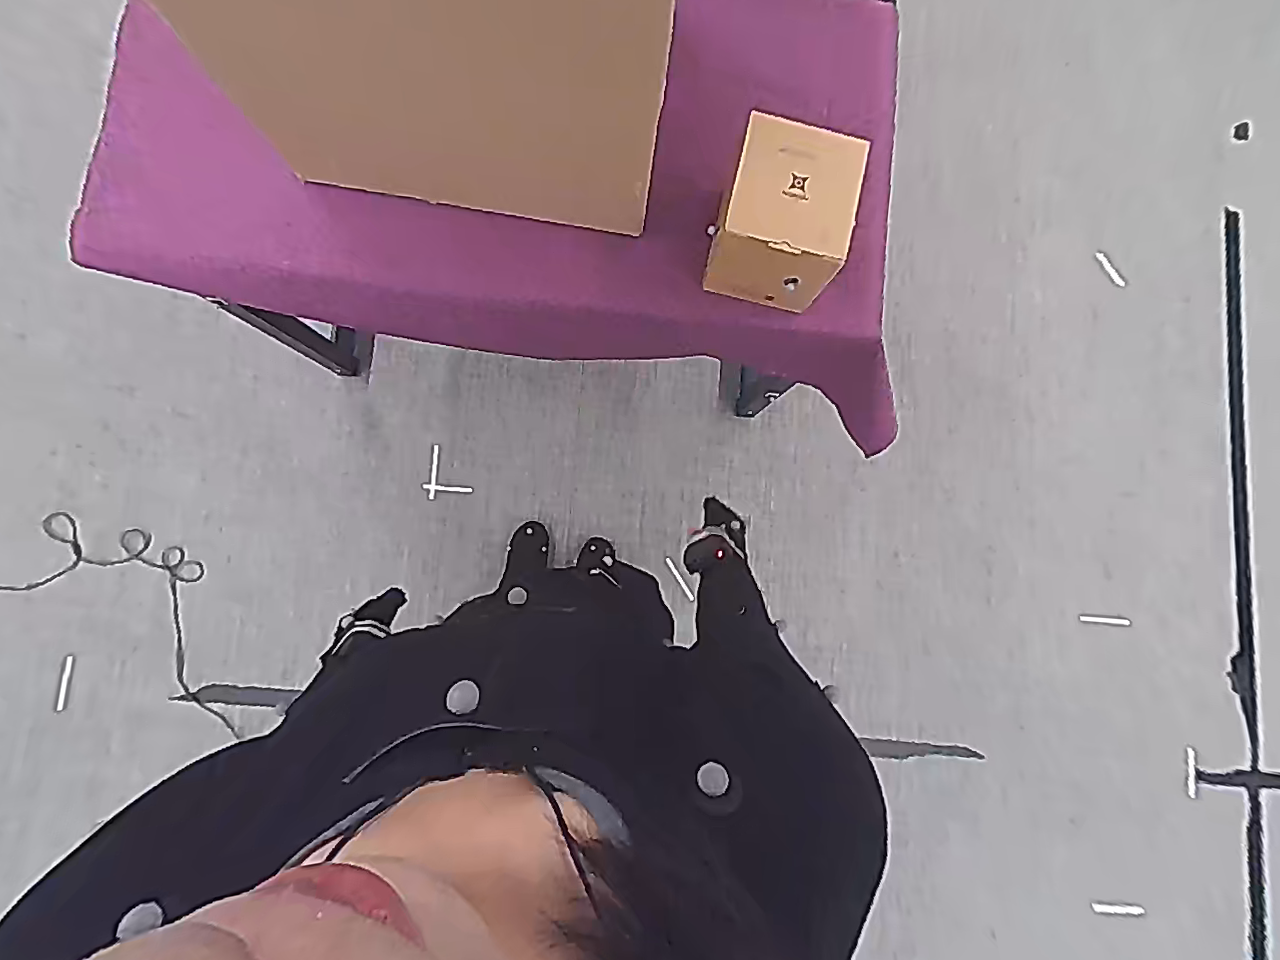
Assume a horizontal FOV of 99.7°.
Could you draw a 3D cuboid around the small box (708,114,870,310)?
[{"bbox_3d":[0.203,-0.371,0.782,0.168,0.176,0.179,13,82,-3],"label":"small box"}]
